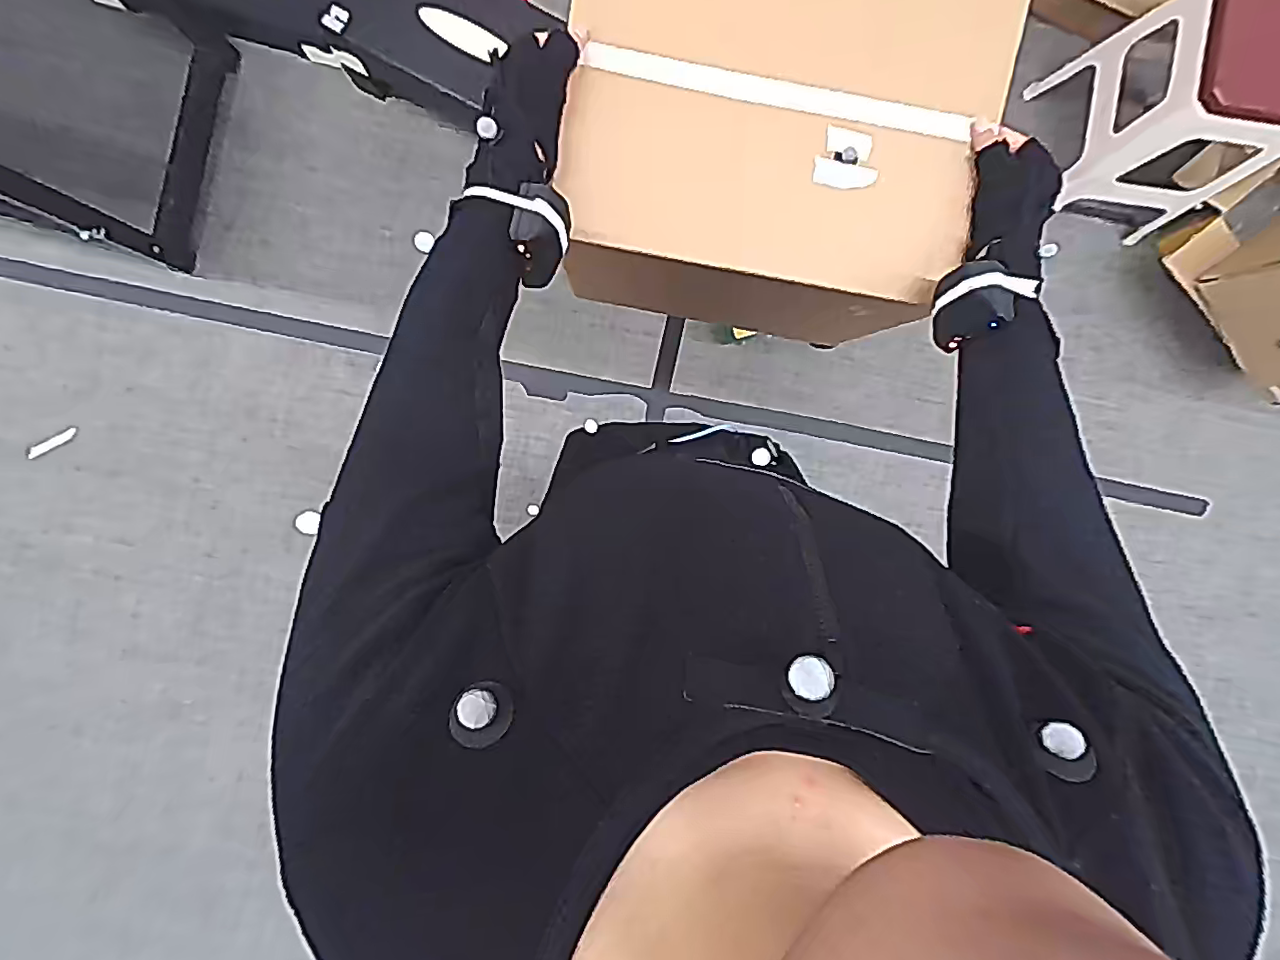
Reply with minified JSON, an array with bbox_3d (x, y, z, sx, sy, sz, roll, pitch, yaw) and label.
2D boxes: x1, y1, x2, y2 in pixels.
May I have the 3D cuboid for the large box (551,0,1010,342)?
[{"bbox_3d":[0.124,-0.370,0.658,0.408,0.320,0.320,9,98,-3],"label":"large box"}]
